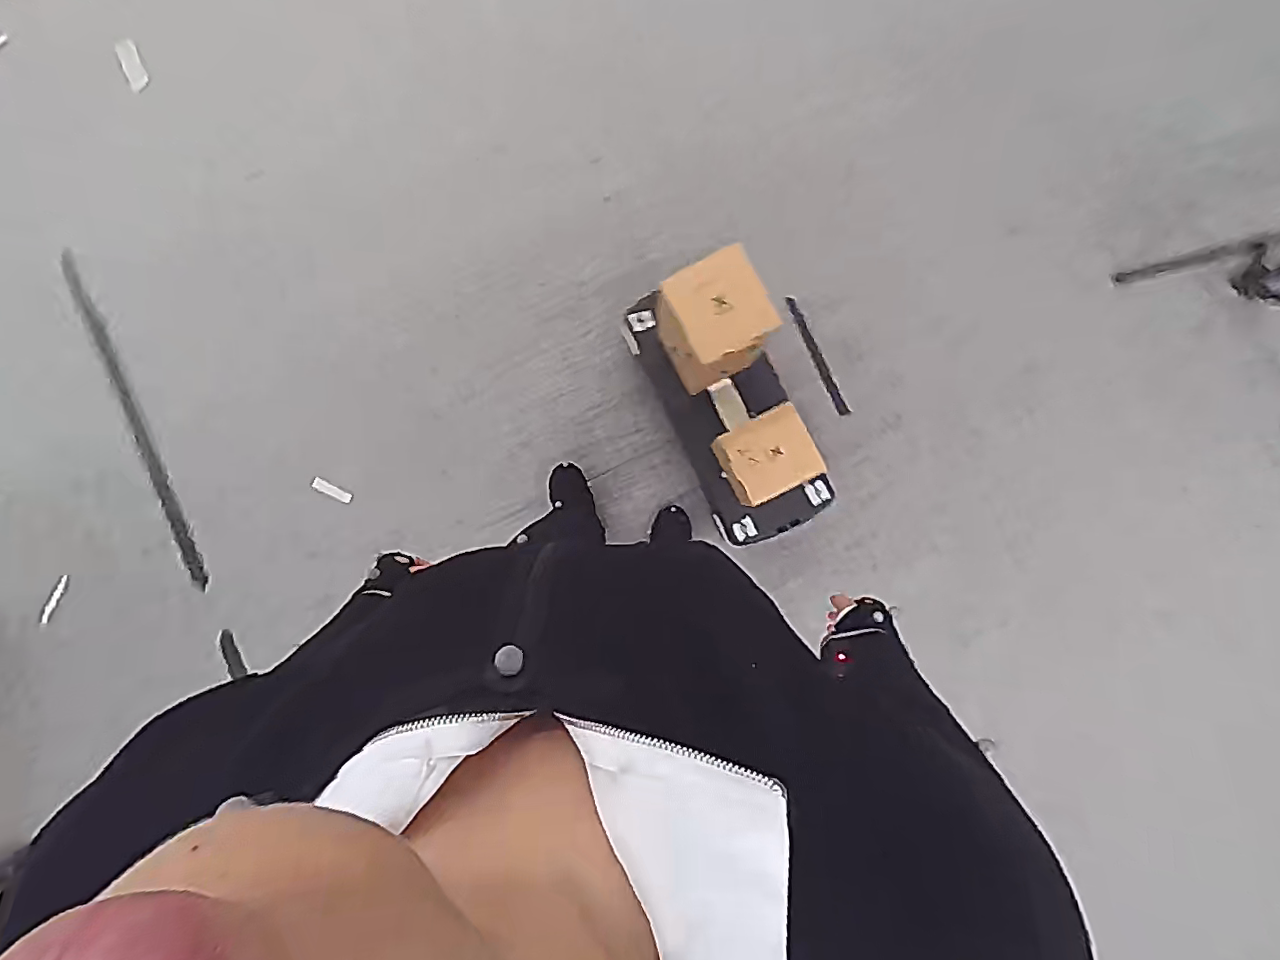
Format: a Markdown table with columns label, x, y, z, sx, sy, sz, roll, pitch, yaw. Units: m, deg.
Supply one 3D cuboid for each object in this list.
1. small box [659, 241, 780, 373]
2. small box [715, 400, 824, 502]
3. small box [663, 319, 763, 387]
| label | x | y | z | sx | sy | sz | roll | pitch | yaw |
| --- | --- | --- | --- | --- | --- | --- | --- | --- | --- |
| small box | 0.148 | -0.325 | 1.064 | 0.168 | 0.176 | 0.179 | -28 | 89 | 0 |
| small box | 0.280 | -0.062 | 1.221 | 0.179 | 0.176 | 0.168 | -26 | 87 | 1 |
| small box | 0.154 | -0.324 | 1.227 | 0.168 | 0.176 | 0.179 | -27 | 89 | 2 |
